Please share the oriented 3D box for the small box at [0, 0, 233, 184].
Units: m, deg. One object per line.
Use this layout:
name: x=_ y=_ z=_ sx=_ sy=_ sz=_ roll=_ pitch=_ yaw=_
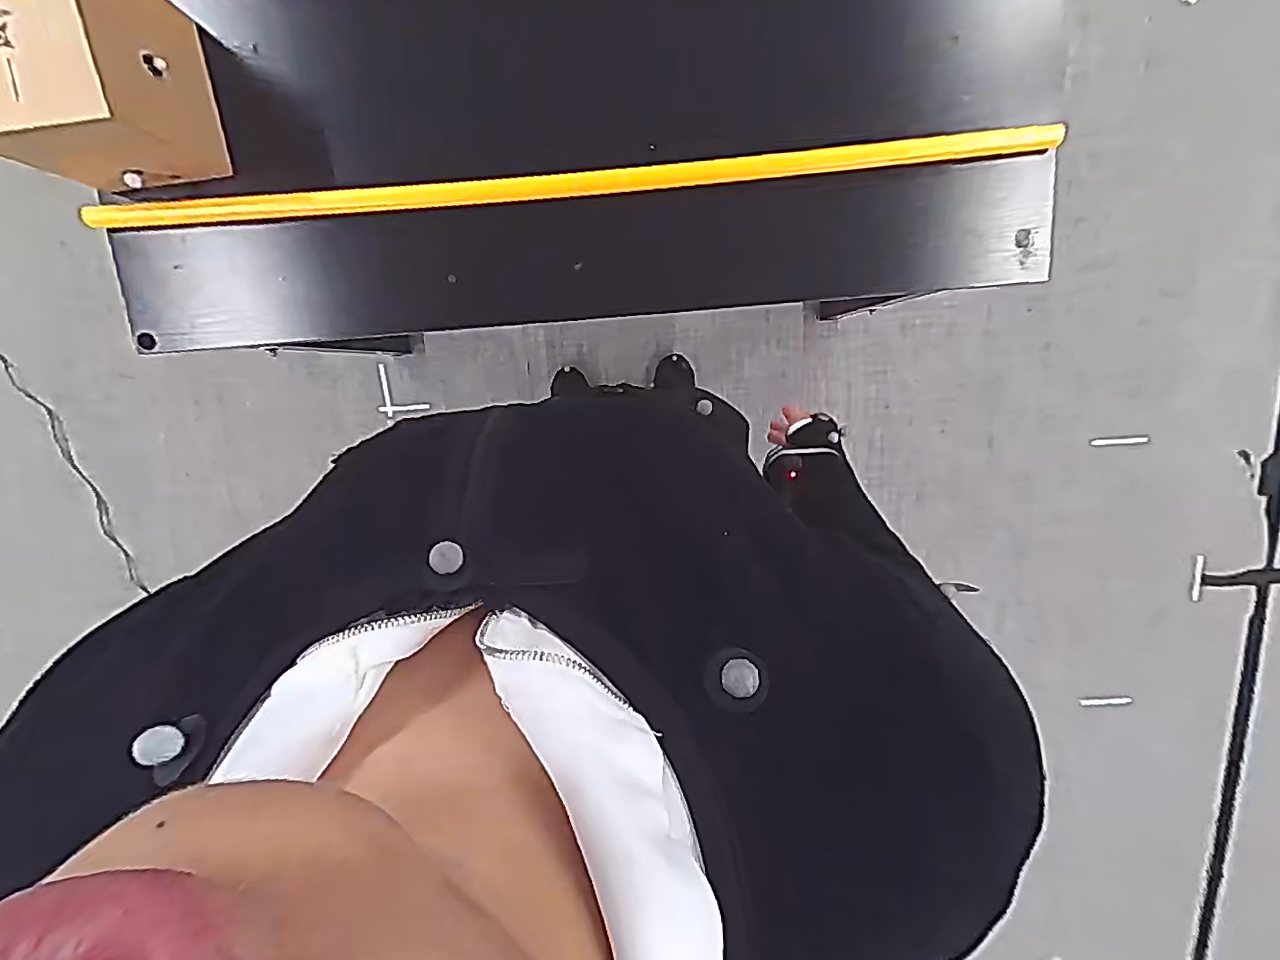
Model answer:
small box: x=-0.595 y=-0.449 z=0.585 sx=0.168 sy=0.176 sz=0.179 roll=-7 pitch=102 yaw=1
